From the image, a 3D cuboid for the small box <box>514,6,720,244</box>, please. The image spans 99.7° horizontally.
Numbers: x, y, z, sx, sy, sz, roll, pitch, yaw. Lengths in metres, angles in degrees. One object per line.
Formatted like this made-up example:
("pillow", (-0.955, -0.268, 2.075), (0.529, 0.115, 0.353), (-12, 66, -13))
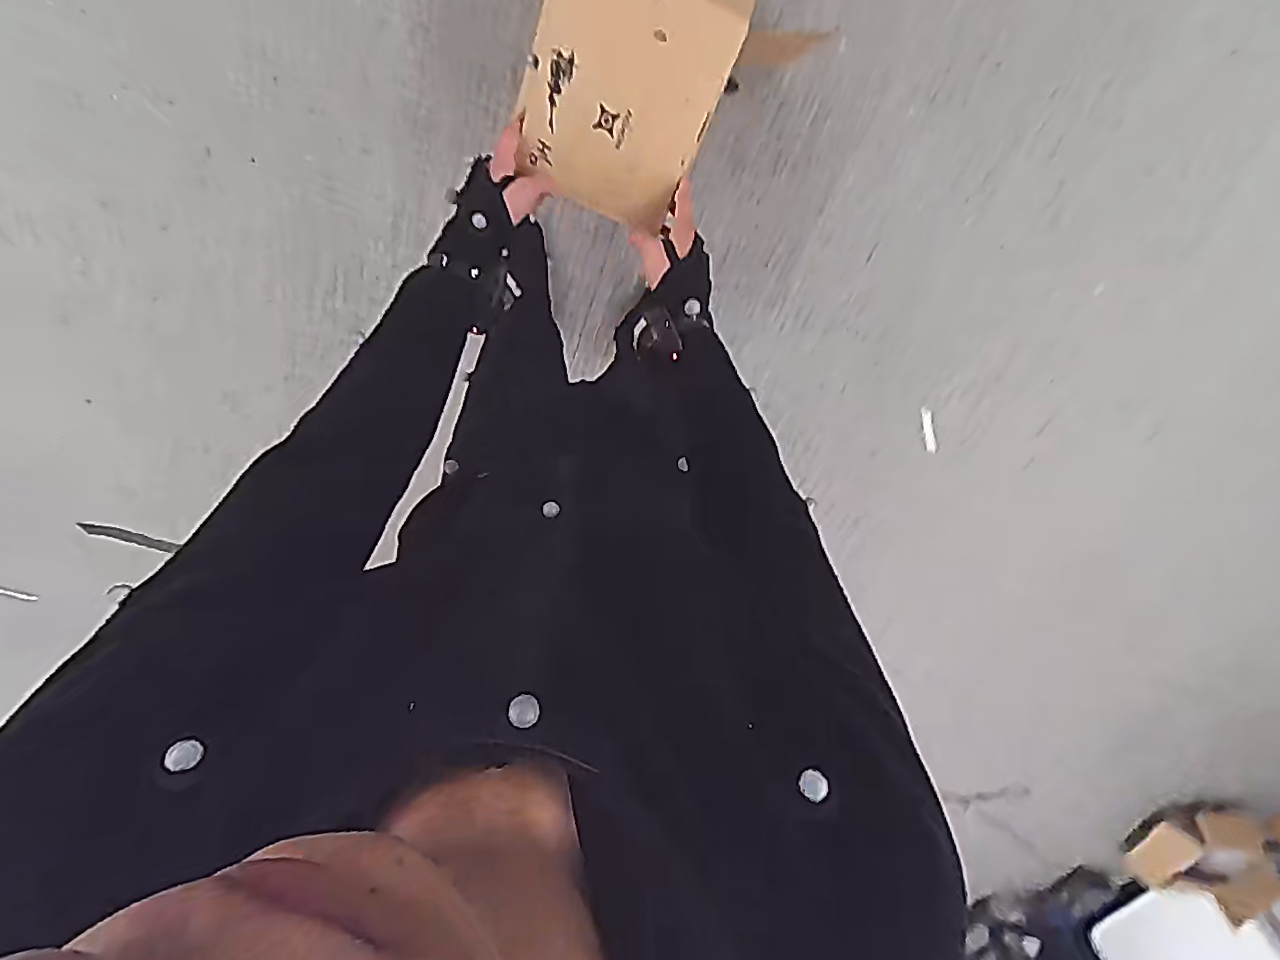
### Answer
("small box", (-0.031, -0.410, 0.635), (0.179, 0.176, 0.168), (18, 124, -16))
